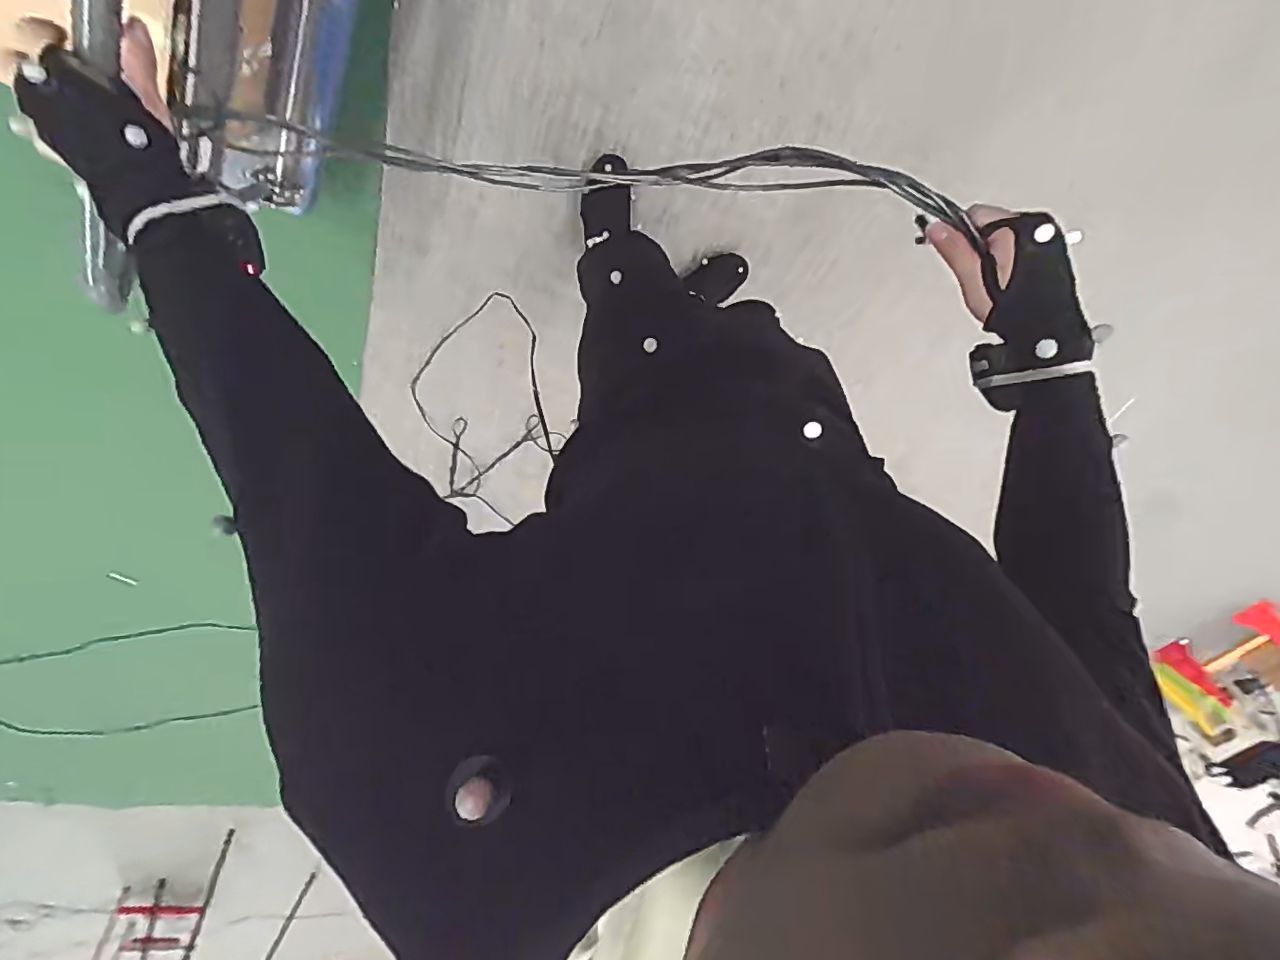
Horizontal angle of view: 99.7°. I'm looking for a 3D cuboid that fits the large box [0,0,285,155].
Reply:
[{"bbox_3d":[-0.792,-0.738,0.763,0.408,0.320,0.320,22,120,-23],"label":"large box"}]
